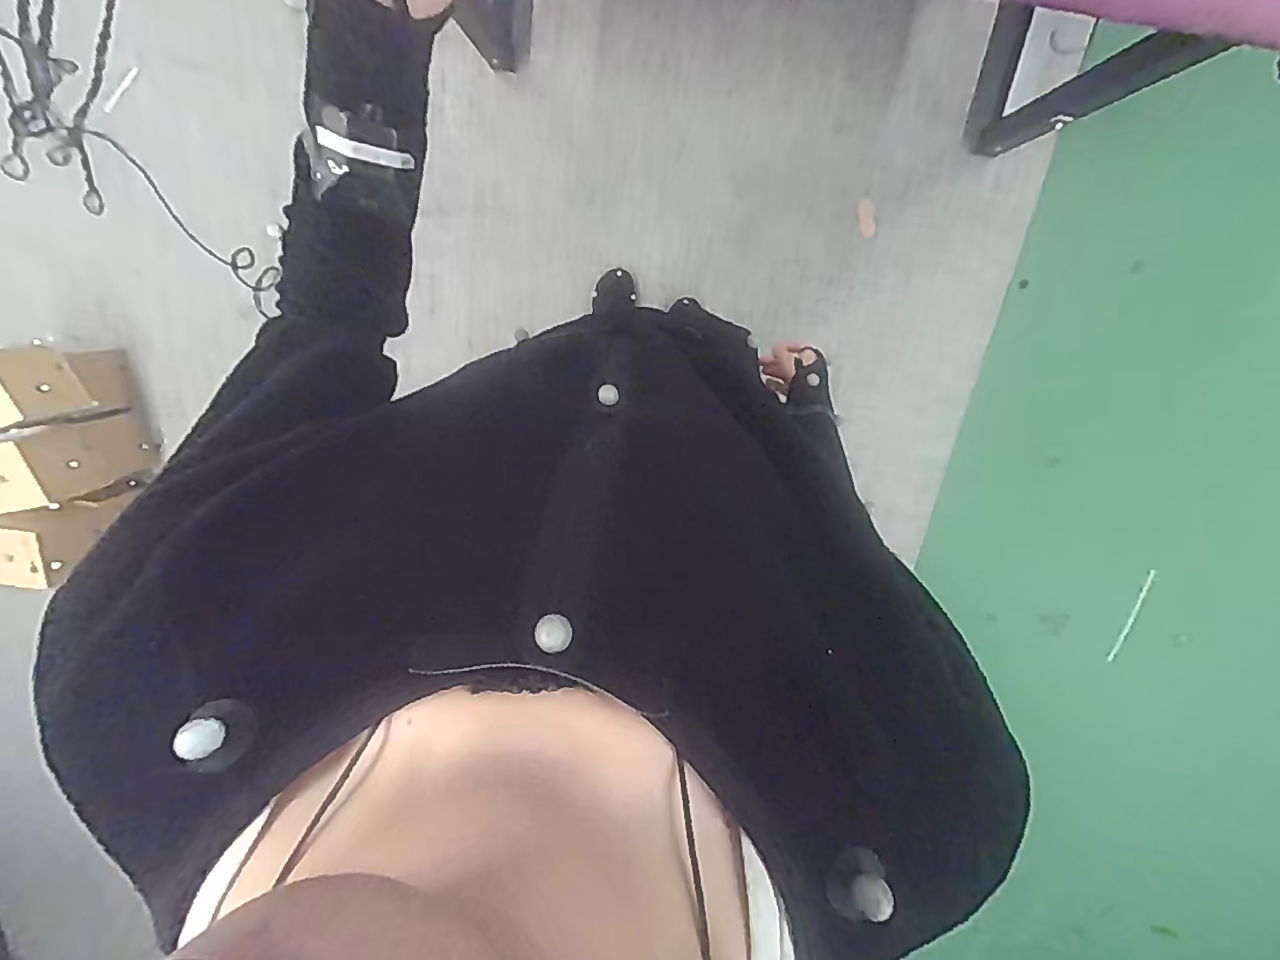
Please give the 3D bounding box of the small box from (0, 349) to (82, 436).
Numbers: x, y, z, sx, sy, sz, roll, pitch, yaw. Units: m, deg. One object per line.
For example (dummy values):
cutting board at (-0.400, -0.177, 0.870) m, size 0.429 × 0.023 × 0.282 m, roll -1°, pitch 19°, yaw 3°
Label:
small box at (-1.506, -0.206, 1.290) m, size 0.179 × 0.176 × 0.168 m, roll -16°, pitch 106°, yaw 9°

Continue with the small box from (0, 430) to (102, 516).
small box at (-1.518, -0.020, 1.354) m, size 0.179 × 0.176 × 0.168 m, roll -8°, pitch 107°, yaw 6°

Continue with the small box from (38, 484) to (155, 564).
small box at (-1.572, 0.121, 1.573) m, size 0.168 × 0.176 × 0.179 m, roll 8°, pitch 109°, yaw 1°
